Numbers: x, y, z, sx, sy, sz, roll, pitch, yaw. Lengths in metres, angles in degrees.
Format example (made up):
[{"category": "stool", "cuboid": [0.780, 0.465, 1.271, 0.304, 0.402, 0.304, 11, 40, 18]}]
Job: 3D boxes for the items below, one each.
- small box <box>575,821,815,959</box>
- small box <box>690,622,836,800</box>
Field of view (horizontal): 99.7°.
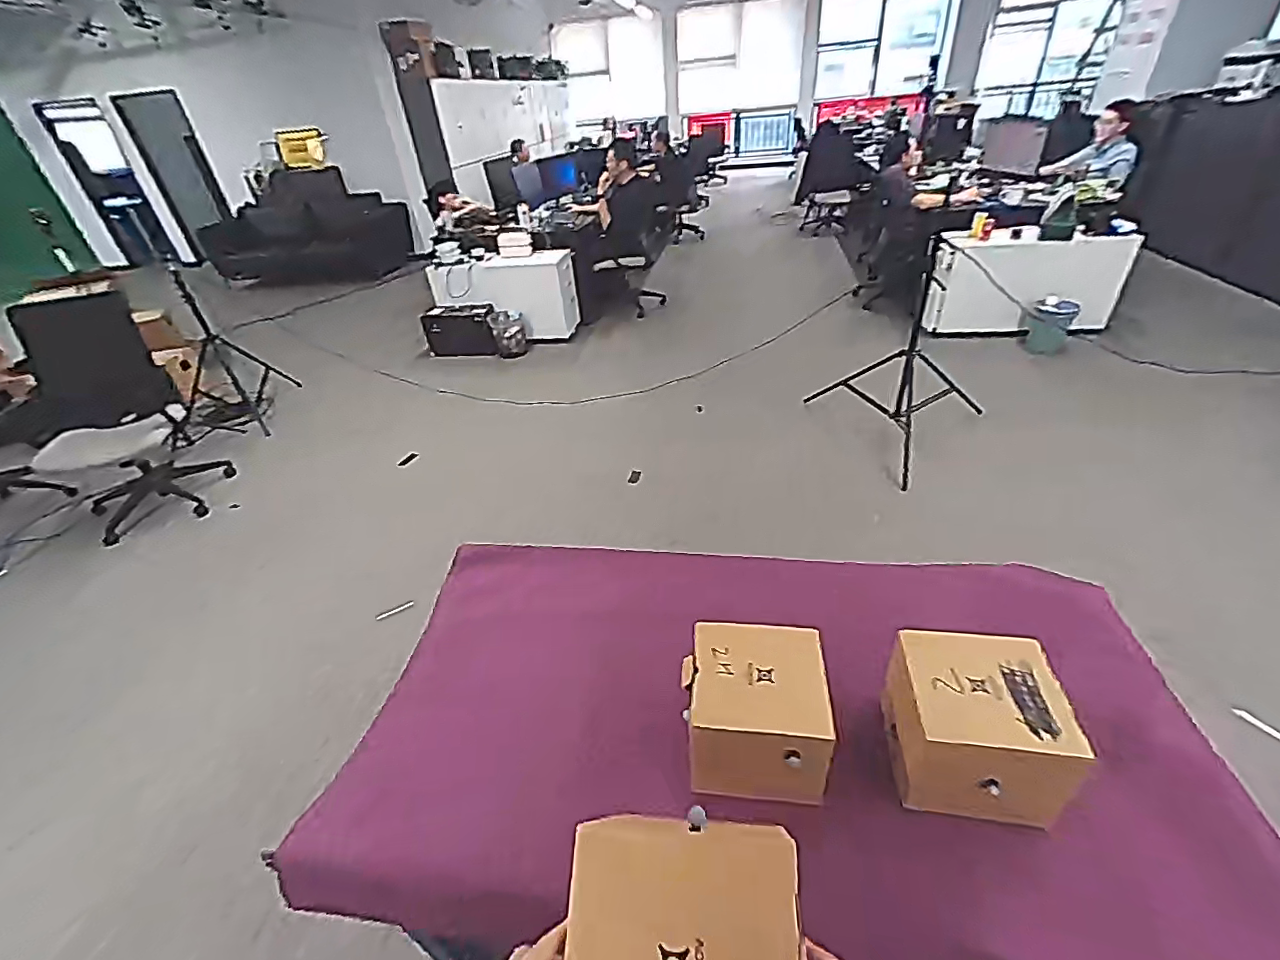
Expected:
[{"category": "small box", "cuboid": [0.049, 0.393, 0.455, 0.179, 0.176, 0.168, -1, 58, 9]}, {"category": "small box", "cuboid": [0.165, 0.324, 0.763, 0.179, 0.176, 0.168, 0, 35, 9]}]
